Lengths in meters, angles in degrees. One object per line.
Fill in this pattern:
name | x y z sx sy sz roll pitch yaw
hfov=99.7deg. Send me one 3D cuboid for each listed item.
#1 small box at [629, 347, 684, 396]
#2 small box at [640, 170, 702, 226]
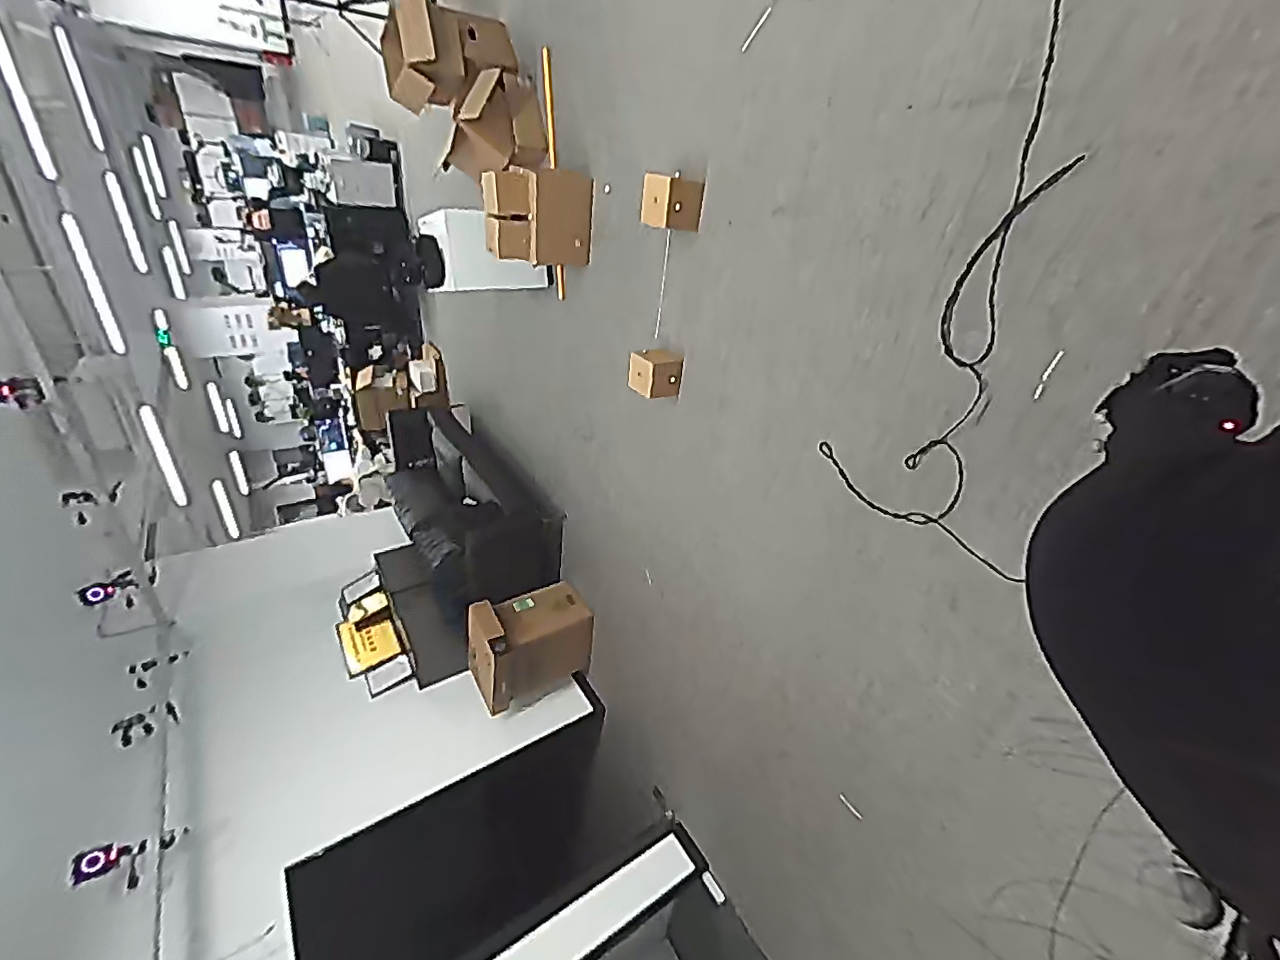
small box | 0.074 -0.494 2.425 0.179 0.176 0.168 39 135 43
small box | 0.122 -1.084 2.081 0.168 0.176 0.179 39 135 42
